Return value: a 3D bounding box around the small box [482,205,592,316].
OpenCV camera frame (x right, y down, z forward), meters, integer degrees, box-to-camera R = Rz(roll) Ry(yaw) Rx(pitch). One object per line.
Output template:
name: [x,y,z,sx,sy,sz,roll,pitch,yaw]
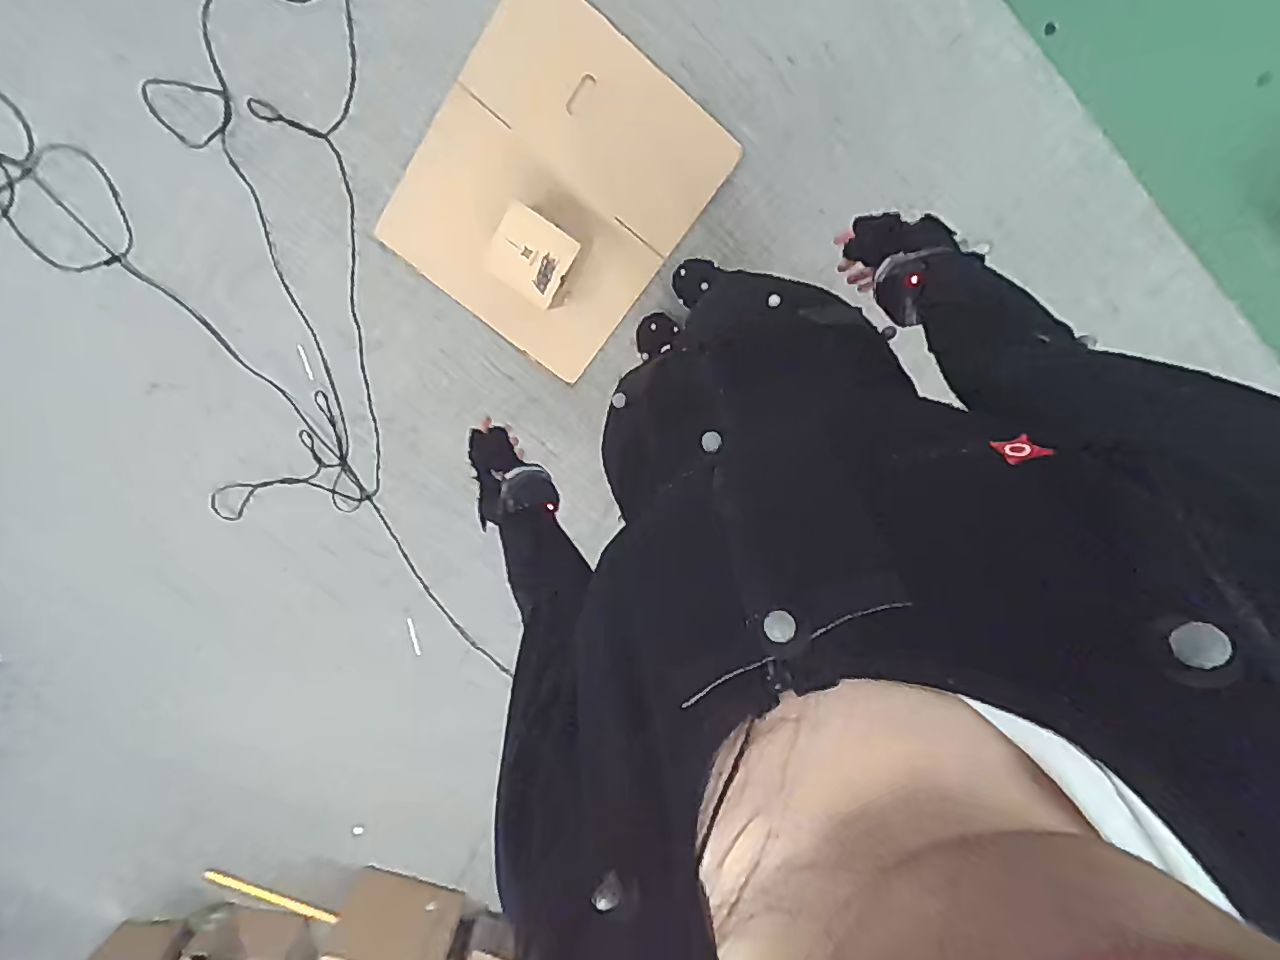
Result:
small box: [-0.229,-0.506,1.255,0.179,0.176,0.168,32,108,-8]
